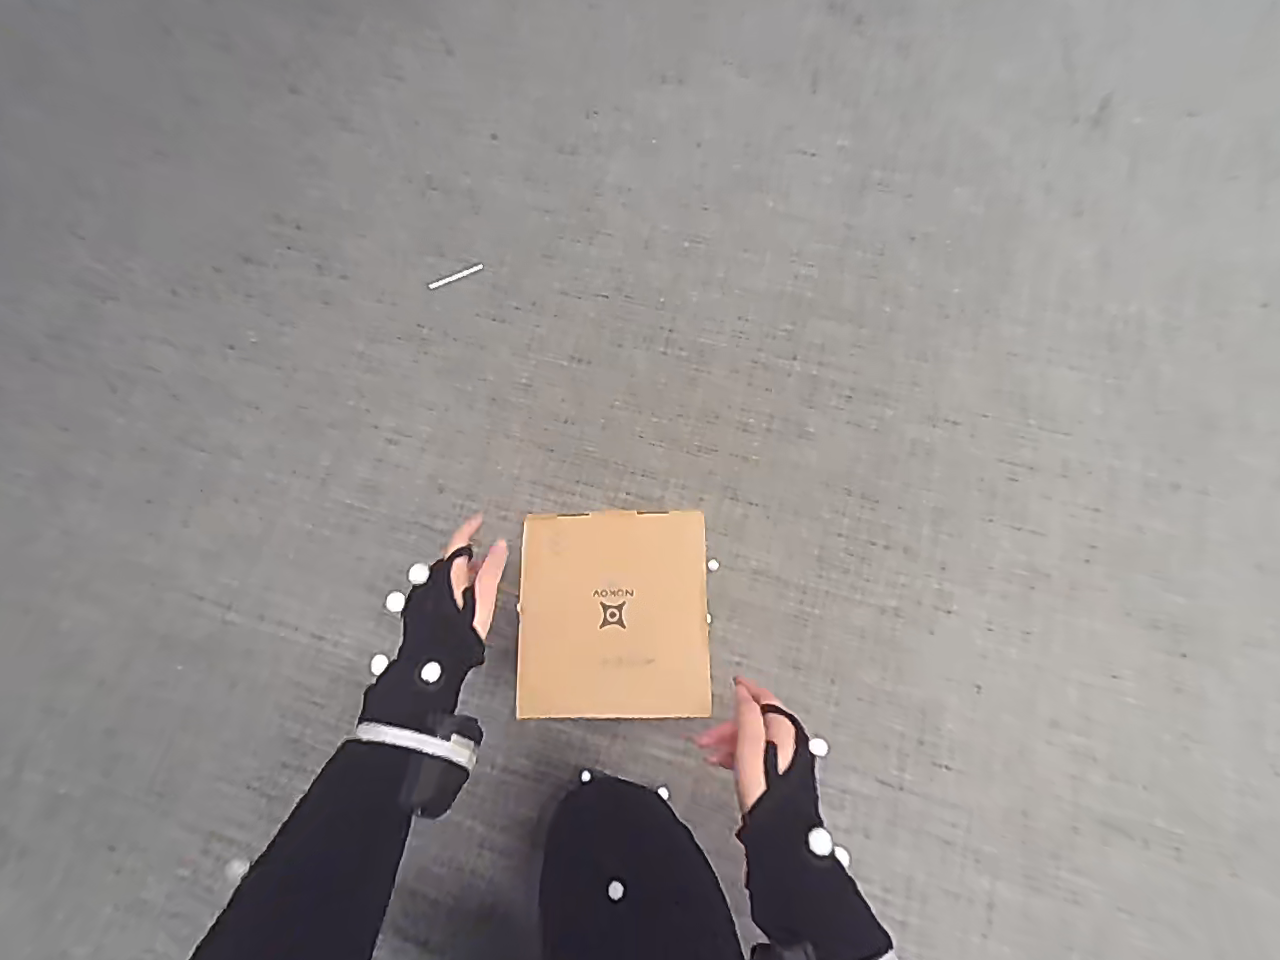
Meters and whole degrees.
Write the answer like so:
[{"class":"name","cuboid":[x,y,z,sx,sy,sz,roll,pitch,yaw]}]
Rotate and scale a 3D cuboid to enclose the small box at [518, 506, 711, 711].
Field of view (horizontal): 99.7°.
[{"class":"small box","cuboid":[-0.017,0.130,0.552,0.168,0.176,0.179,-2,76,5]}]
